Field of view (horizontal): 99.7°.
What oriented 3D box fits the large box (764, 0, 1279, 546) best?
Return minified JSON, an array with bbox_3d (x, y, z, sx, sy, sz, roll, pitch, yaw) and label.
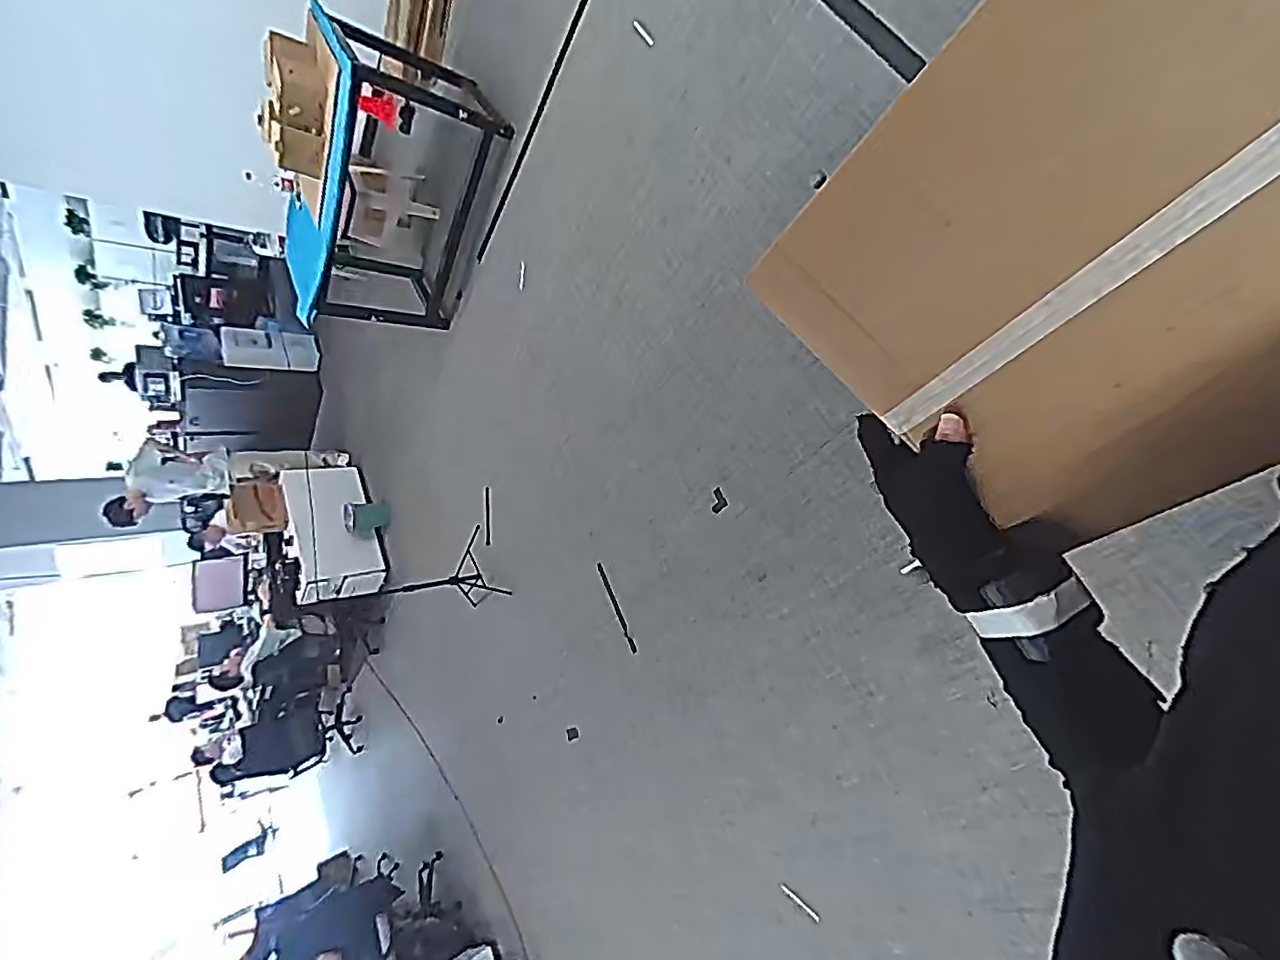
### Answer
[{"bbox_3d":[0.369,-0.228,0.406,0.320,0.320,0.408,43,131,-2],"label":"large box"}]
